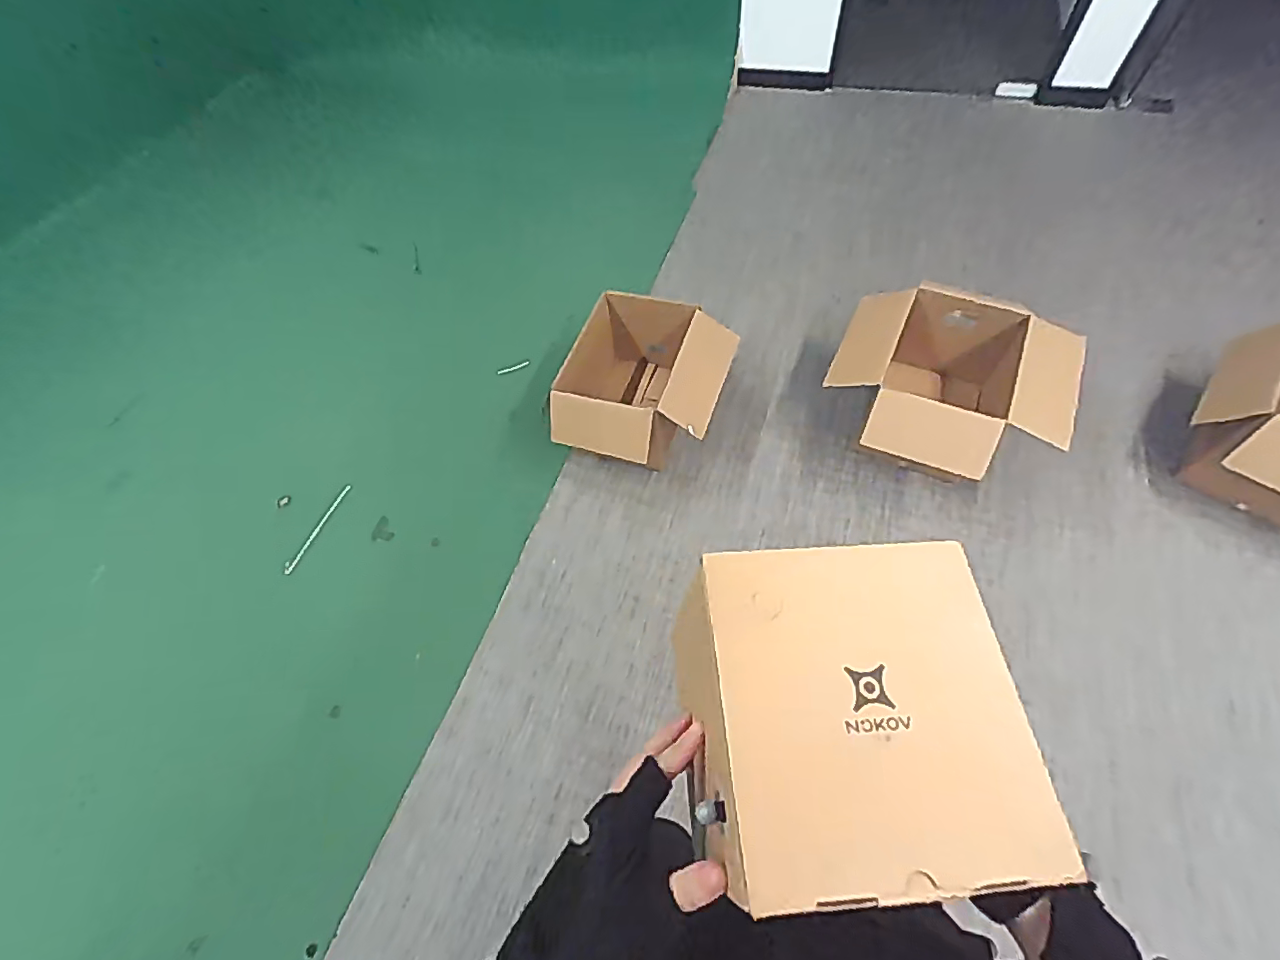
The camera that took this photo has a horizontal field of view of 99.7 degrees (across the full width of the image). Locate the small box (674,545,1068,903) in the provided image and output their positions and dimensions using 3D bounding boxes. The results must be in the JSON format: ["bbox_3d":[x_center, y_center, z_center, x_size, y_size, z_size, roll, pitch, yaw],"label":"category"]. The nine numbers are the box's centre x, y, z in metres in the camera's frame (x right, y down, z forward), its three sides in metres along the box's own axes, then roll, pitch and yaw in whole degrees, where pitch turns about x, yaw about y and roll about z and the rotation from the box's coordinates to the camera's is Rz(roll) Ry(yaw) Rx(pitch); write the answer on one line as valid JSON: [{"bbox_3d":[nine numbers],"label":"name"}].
[{"bbox_3d":[0.118,0.157,0.367,0.168,0.176,0.179,-2,62,-5],"label":"small box"}]
